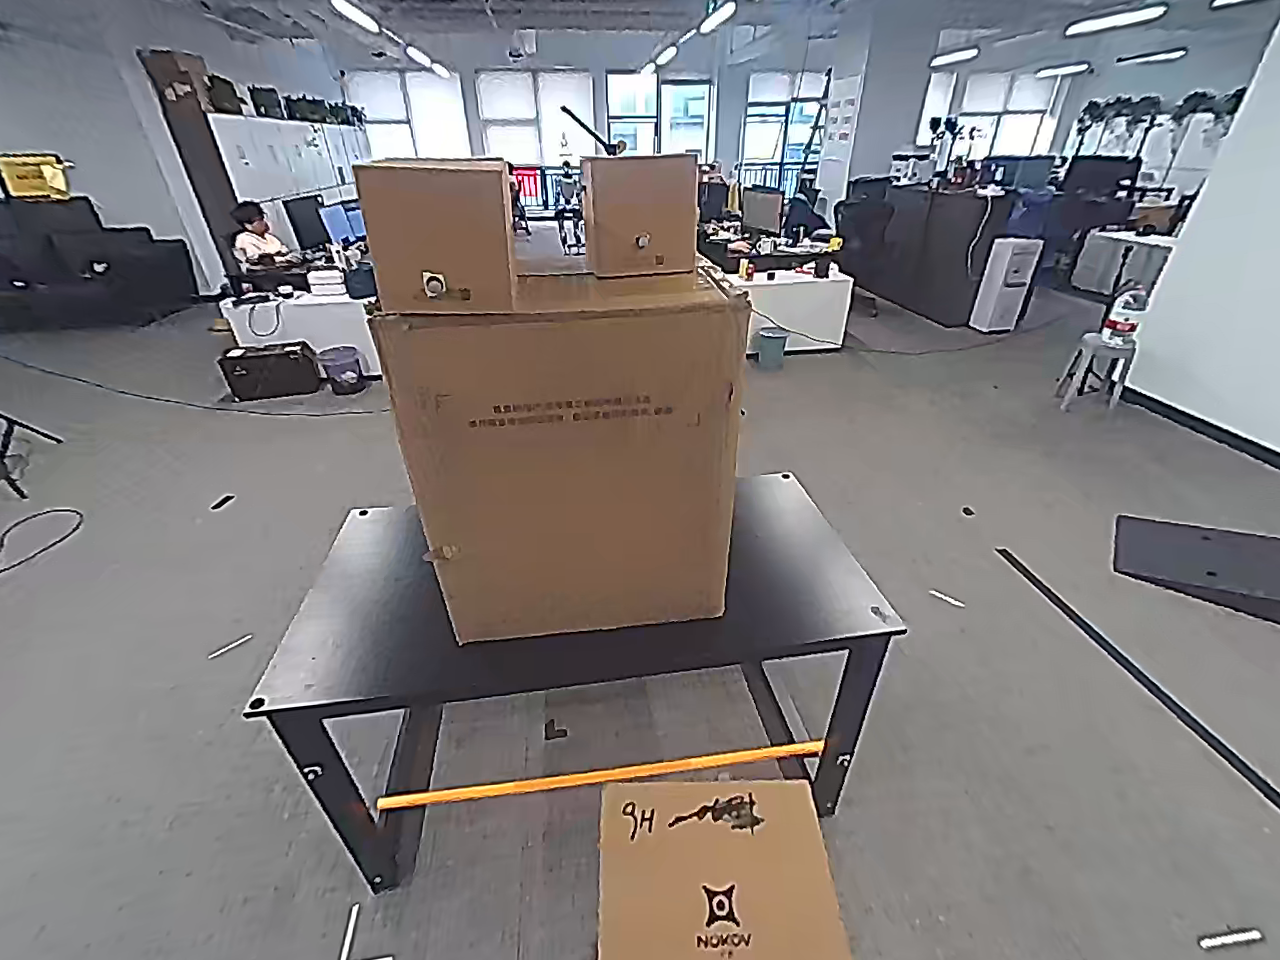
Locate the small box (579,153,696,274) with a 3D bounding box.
[{"bbox_3d":[-0.010,-0.445,0.904,0.168,0.176,0.179,-7,31,-8],"label":"small box"}]

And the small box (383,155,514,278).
[{"bbox_3d":[-0.304,-0.437,0.898,0.168,0.176,0.179,-5,30,-8],"label":"small box"}]
